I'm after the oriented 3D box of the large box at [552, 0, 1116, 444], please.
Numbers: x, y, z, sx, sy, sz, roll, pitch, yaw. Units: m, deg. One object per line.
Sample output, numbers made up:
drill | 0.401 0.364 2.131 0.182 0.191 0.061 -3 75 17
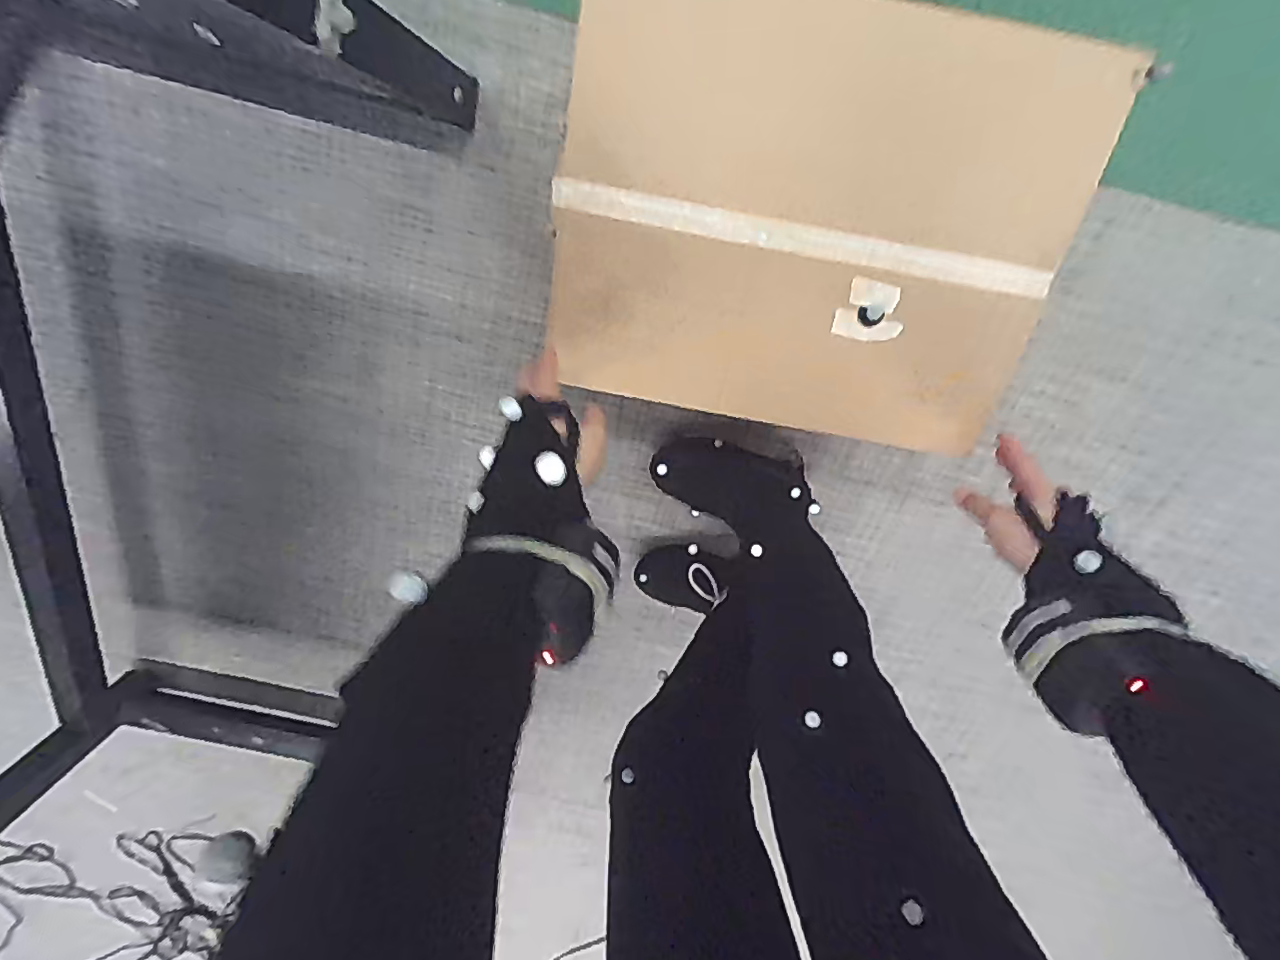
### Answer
large box | 0.138 -0.258 0.587 0.408 0.320 0.320 10 114 -3
